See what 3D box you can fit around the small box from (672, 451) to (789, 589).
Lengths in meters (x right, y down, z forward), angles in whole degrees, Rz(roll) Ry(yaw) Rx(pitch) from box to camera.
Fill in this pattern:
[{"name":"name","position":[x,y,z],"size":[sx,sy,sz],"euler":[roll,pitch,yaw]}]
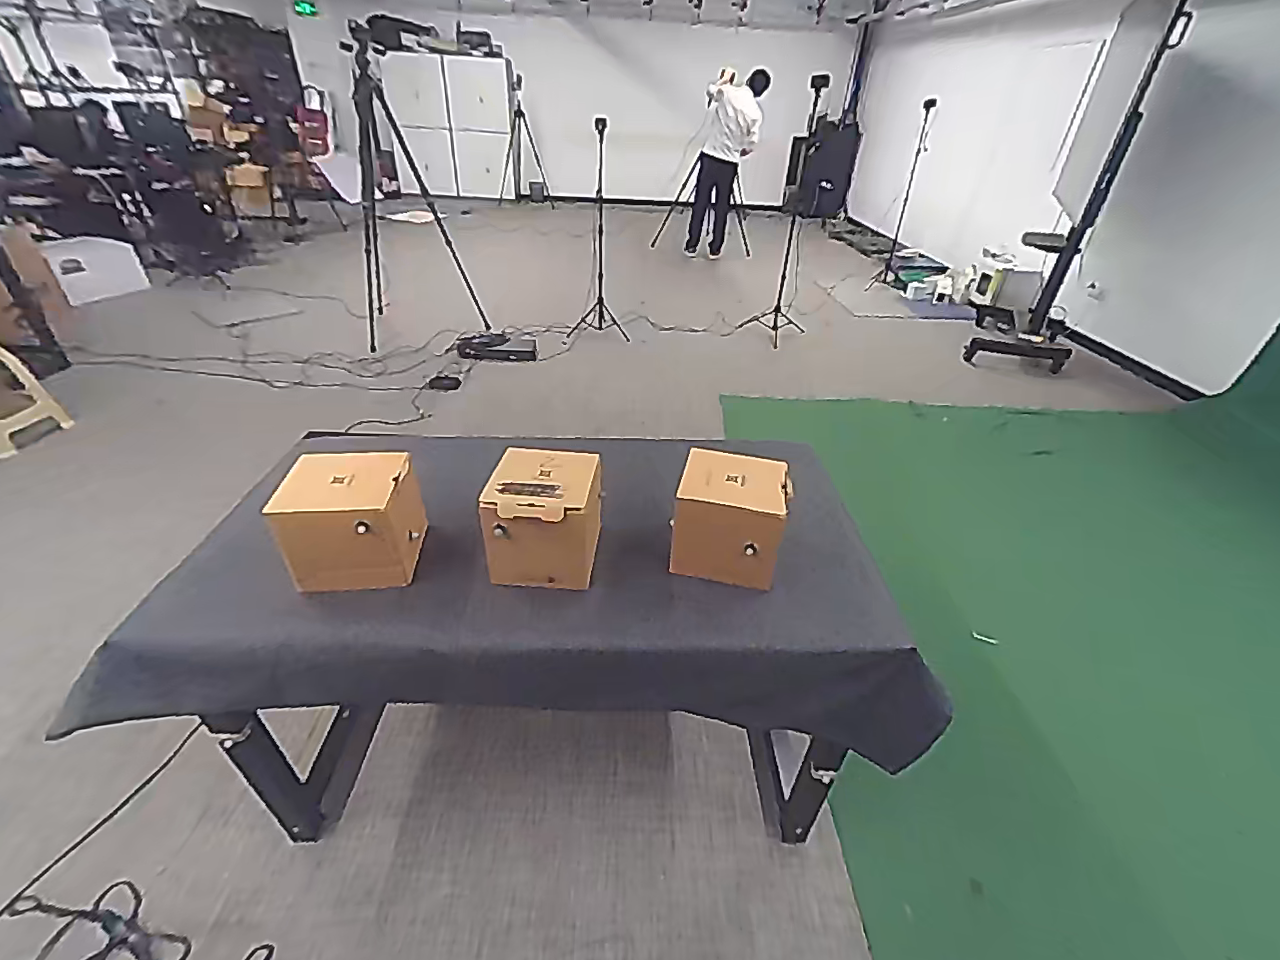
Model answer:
[{"name":"small box","position":[0.160,0.071,0.956],"size":[0.179,0.176,0.168],"euler":[9,34,10]}]

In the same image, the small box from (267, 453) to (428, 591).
[{"name":"small box","position":[-0.472,0.070,0.906],"size":[0.179,0.176,0.168],"euler":[-2,34,-8]}]
